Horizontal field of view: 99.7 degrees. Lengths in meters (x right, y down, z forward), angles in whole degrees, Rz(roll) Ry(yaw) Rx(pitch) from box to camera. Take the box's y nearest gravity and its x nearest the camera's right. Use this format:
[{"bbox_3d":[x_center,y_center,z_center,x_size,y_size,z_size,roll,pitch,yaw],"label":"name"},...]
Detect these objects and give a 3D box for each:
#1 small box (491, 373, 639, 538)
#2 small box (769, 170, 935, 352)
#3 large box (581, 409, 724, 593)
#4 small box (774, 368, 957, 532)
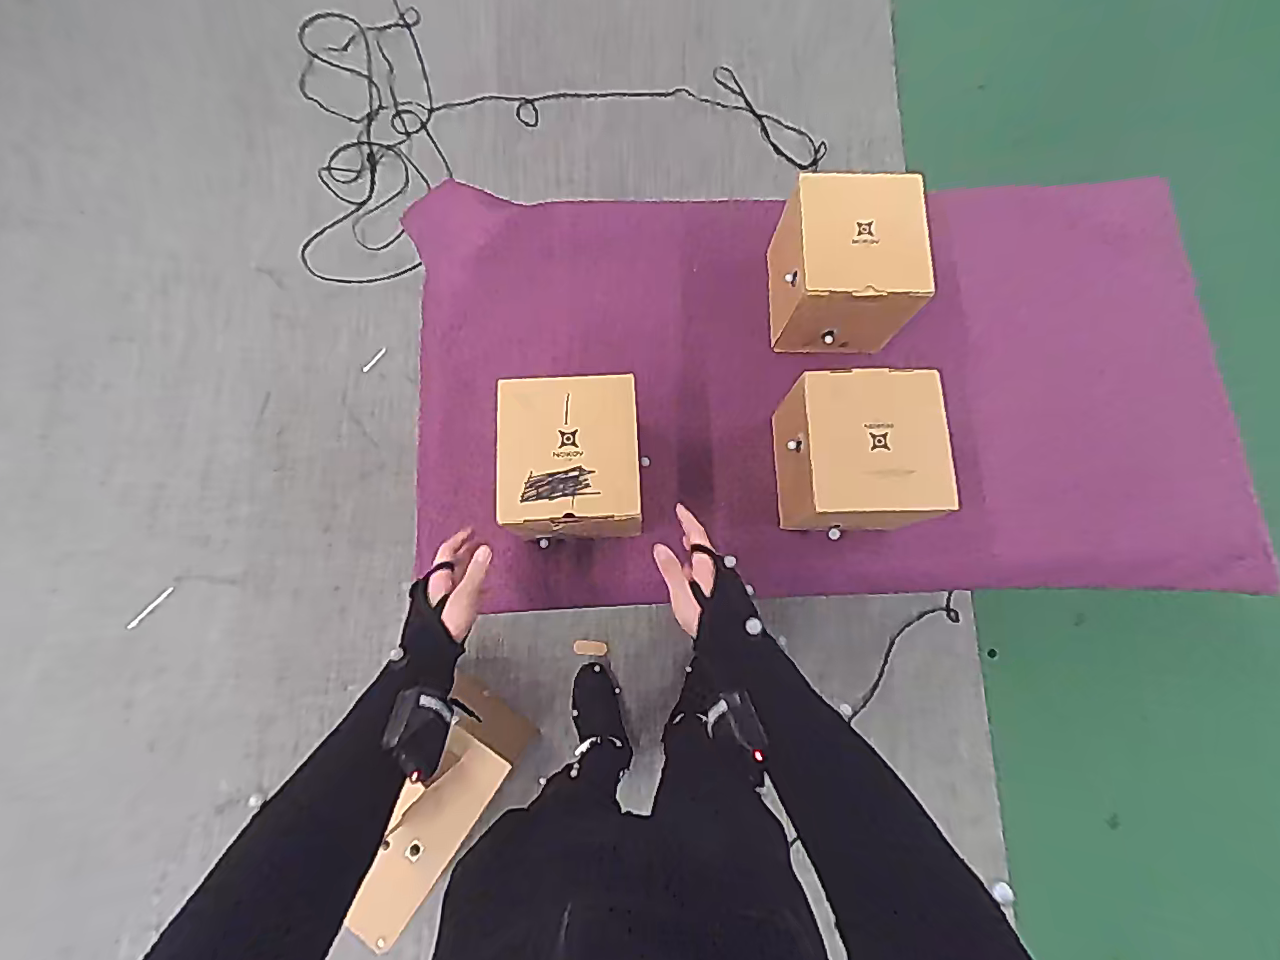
[{"bbox_3d":[-0.087,-0.020,0.696,0.168,0.176,0.179,-3,76,0],"label":"small box"},{"bbox_3d":[0.283,-0.299,0.761,0.168,0.176,0.179,0,79,-1],"label":"small box"},{"bbox_3d":[0.023,0.069,1.357,0.320,0.320,0.408,-2,77,-1],"label":"large box"},{"bbox_3d":[0.275,-0.031,0.702,0.168,0.176,0.179,0,78,1],"label":"small box"}]
